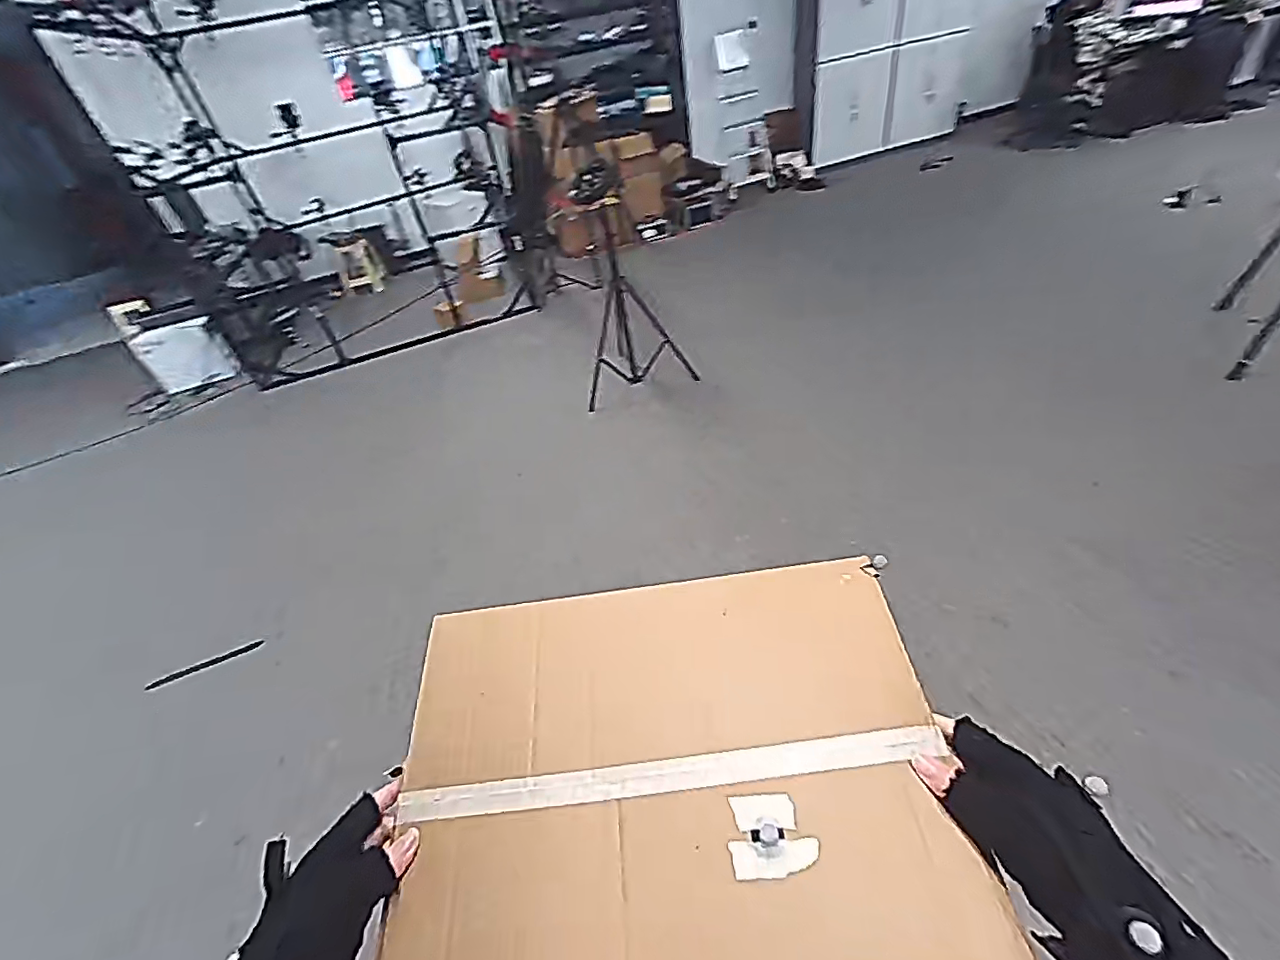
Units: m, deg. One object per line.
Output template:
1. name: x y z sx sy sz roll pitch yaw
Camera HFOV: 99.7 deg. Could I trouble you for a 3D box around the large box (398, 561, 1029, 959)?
1. large box: 0.041 0.317 0.526 0.408 0.320 0.320 -9 51 2
